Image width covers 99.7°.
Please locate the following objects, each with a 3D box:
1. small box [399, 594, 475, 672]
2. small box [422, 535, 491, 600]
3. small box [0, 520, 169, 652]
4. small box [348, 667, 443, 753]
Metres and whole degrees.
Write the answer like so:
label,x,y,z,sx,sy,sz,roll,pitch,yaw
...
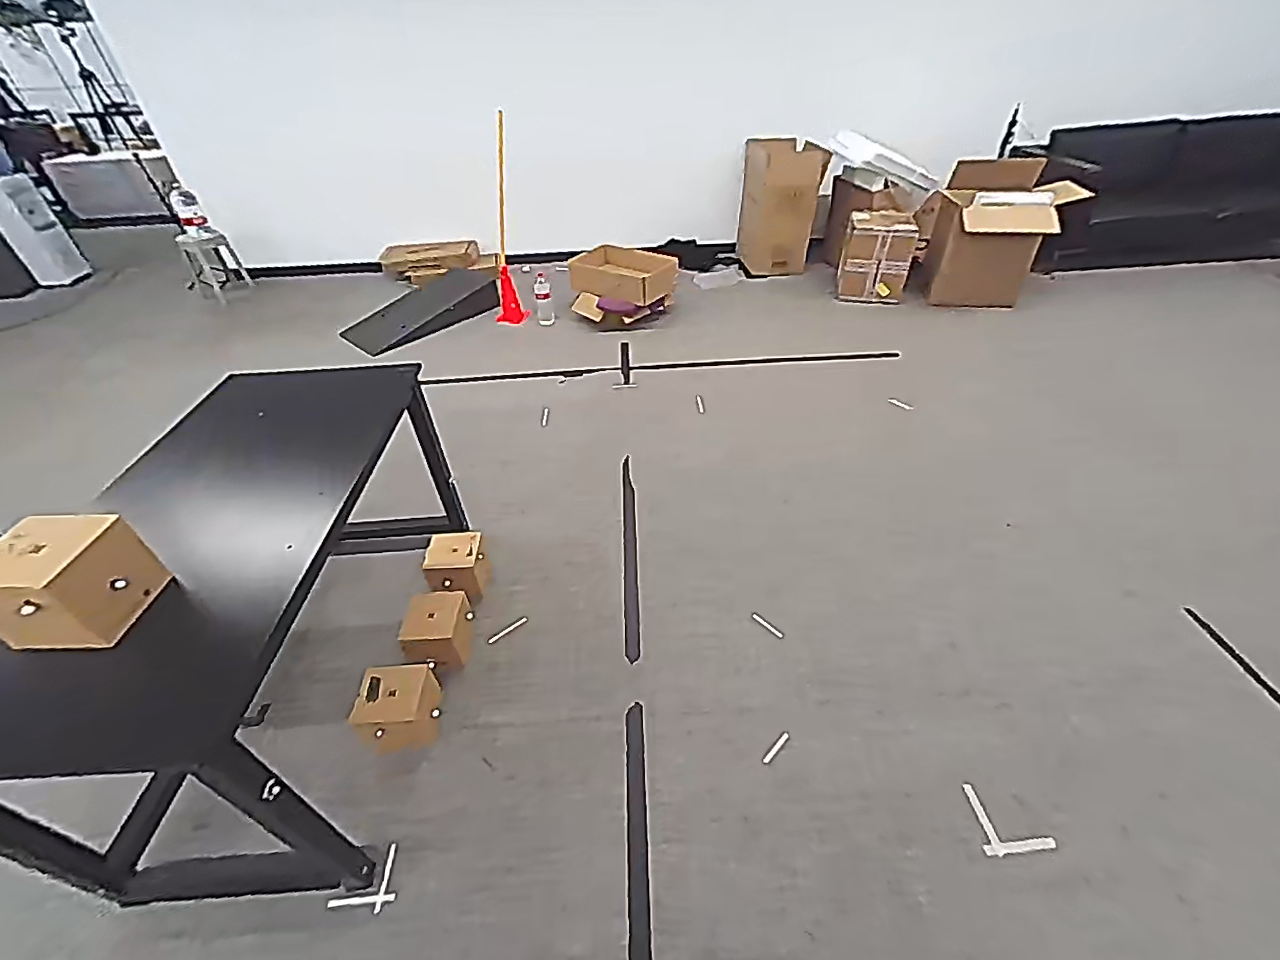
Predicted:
label,x,y,z,sx,sy,sz,roll,pitch,yaw
small box,-0.634,0.486,1.715,0.168,0.176,0.179,-5,40,-1
small box,-0.643,0.316,1.916,0.179,0.176,0.168,-4,41,-1
small box,-1.005,0.188,0.956,0.179,0.176,0.168,-2,39,2
small box,-0.676,0.650,1.520,0.179,0.176,0.168,-3,40,-2
